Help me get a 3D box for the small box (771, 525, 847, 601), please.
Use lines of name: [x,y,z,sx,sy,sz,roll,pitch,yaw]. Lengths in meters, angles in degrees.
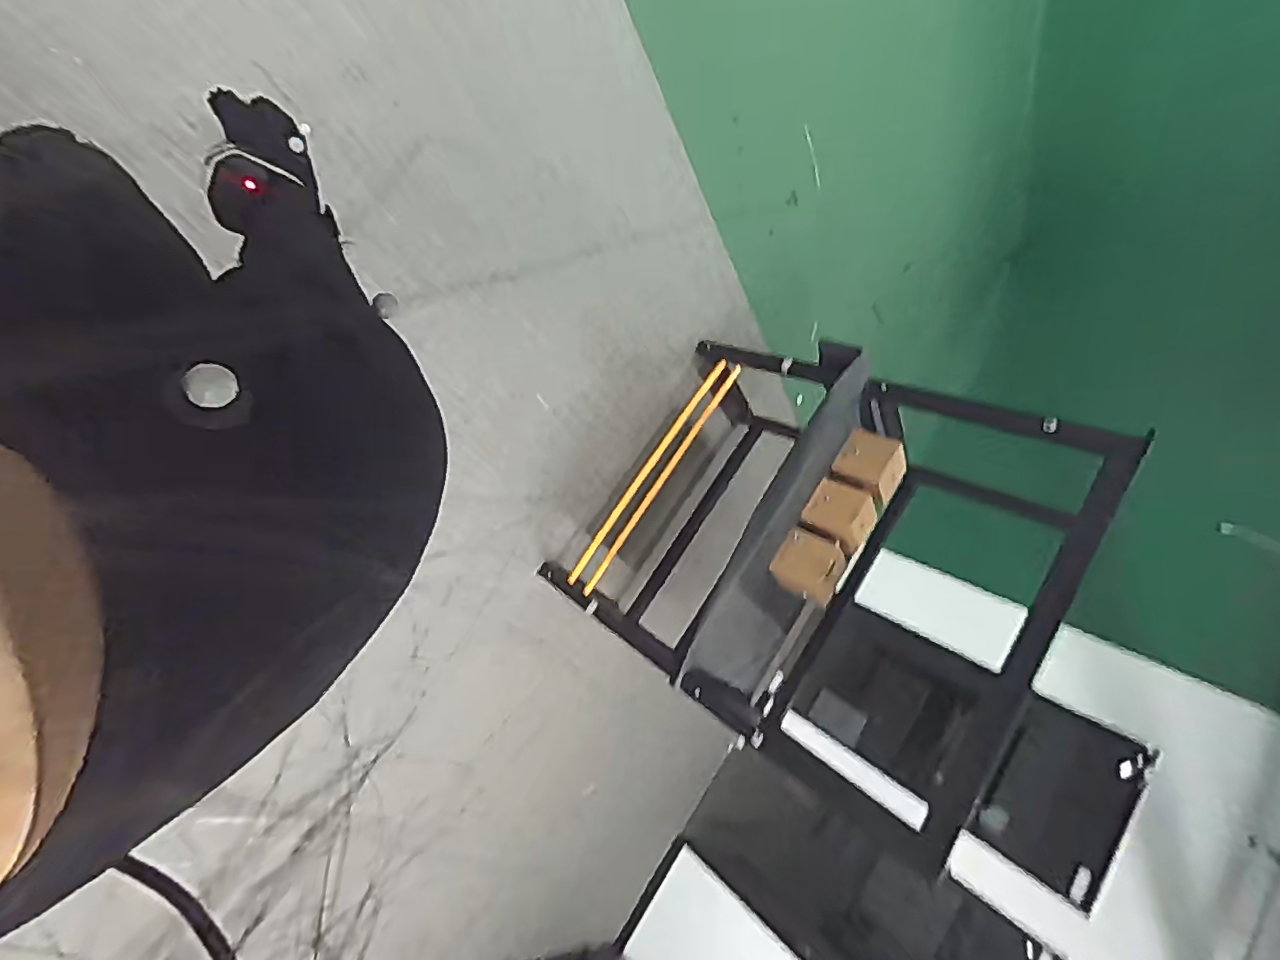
small box: [0.557,0.267,1.785,0.168,0.176,0.179,-55,140,-11]
